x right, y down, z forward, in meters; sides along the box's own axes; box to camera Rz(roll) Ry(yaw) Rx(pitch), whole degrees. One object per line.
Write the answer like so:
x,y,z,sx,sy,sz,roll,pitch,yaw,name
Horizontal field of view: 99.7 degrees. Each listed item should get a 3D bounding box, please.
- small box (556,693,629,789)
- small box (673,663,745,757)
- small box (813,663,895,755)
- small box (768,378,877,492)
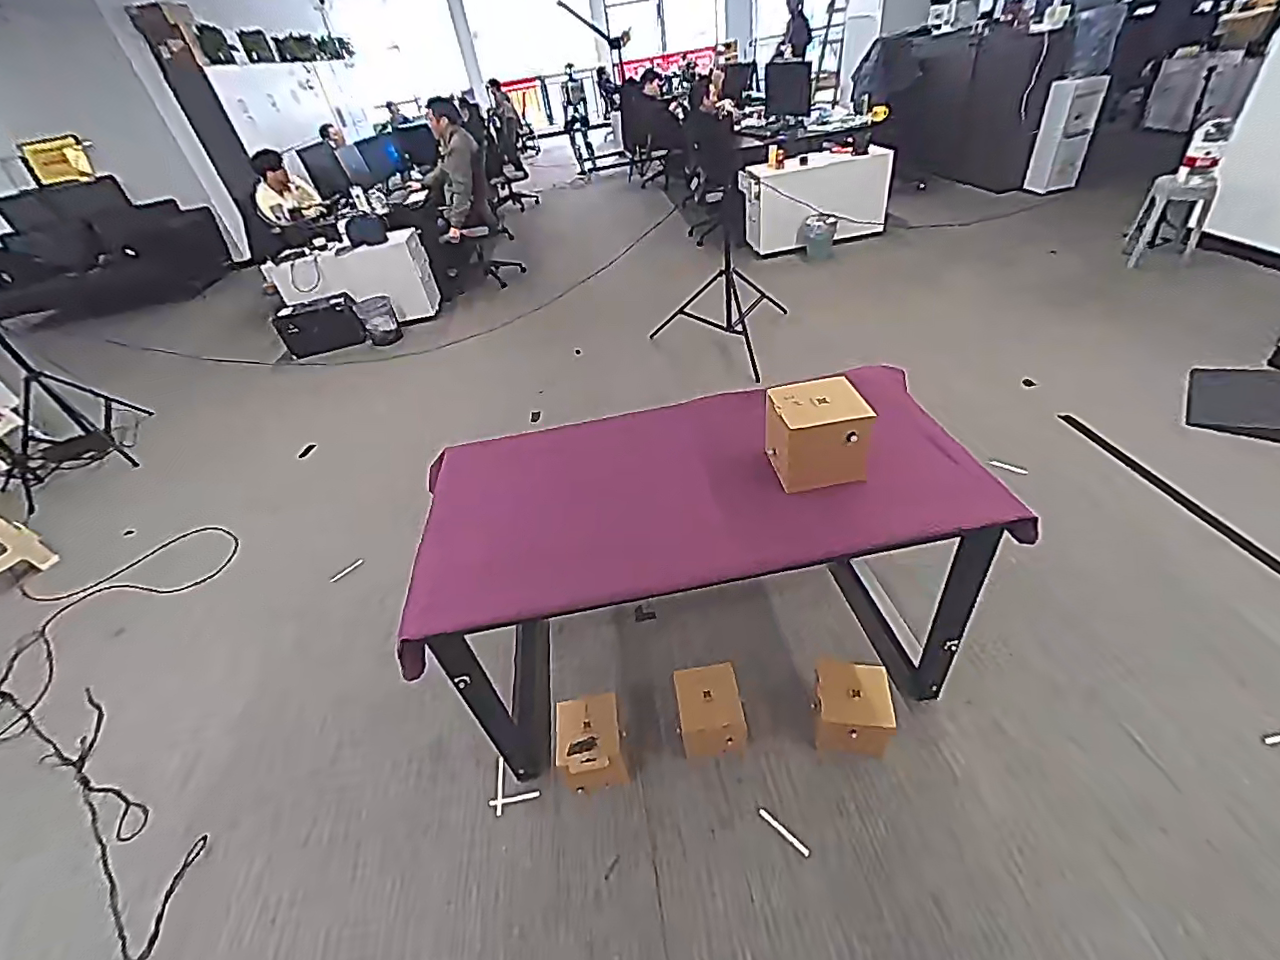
-0.126,0.708,1.457,0.168,0.176,0.179,-10,38,0,small box
0.189,0.635,1.480,0.168,0.176,0.179,-9,38,0,small box
0.559,0.608,1.434,0.179,0.176,0.168,-1,41,13,small box
0.381,-0.096,1.165,0.179,0.176,0.168,-10,38,1,small box
